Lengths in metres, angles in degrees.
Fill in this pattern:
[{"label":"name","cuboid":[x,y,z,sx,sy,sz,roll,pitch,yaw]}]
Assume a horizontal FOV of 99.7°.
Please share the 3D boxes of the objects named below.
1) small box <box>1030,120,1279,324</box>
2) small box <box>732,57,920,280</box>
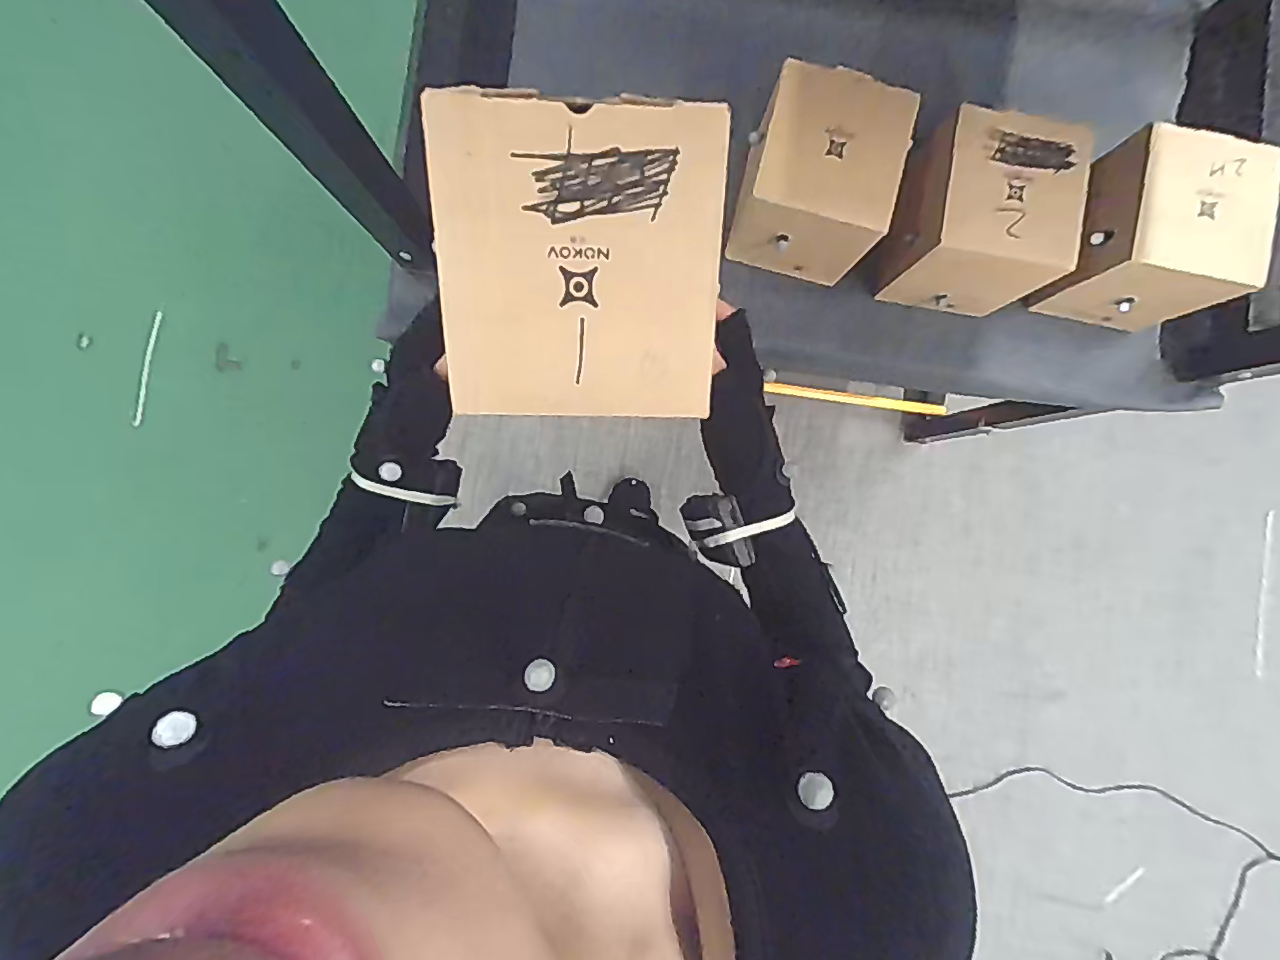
[{"label":"small box","cuboid":[0.664,-0.325,0.718,0.168,0.176,0.179,11,87,-2]},{"label":"small box","cuboid":[0.227,-0.388,0.708,0.168,0.176,0.179,14,88,-2]}]
